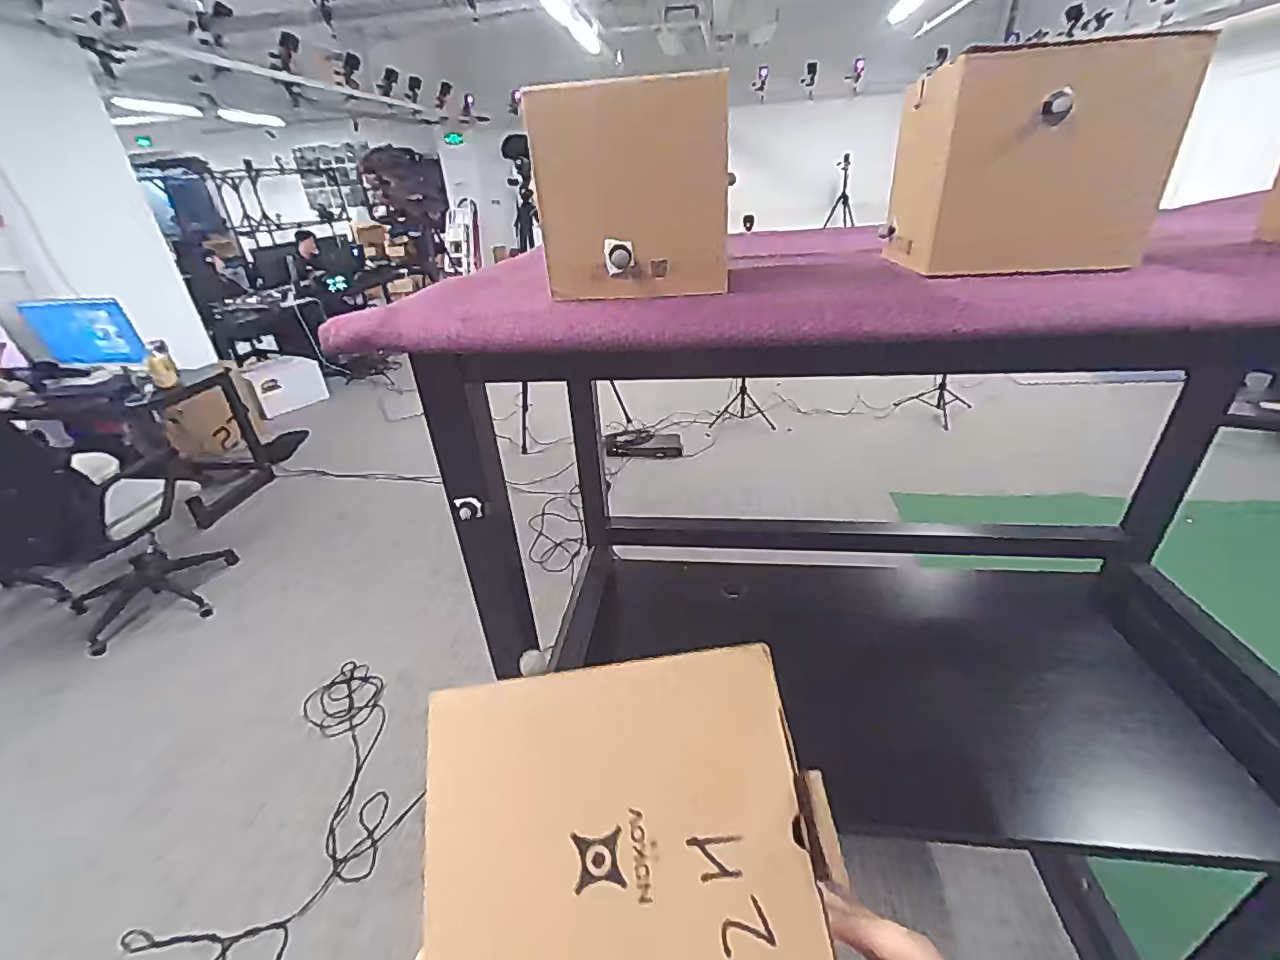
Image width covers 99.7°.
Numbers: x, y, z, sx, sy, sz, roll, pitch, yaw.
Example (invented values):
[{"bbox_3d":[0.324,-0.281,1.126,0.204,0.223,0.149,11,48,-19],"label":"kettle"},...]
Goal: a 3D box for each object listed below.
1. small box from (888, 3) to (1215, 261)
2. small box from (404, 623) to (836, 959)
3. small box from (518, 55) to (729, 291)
[{"bbox_3d":[0.346,-0.304,0.506,0.179,0.176,0.168,1,28,8],"label":"small box"},{"bbox_3d":[-0.010,0.187,0.306,0.179,0.176,0.168,-8,67,-1],"label":"small box"},{"bbox_3d":[-0.004,-0.286,0.523,0.168,0.176,0.179,-2,31,5],"label":"small box"}]
